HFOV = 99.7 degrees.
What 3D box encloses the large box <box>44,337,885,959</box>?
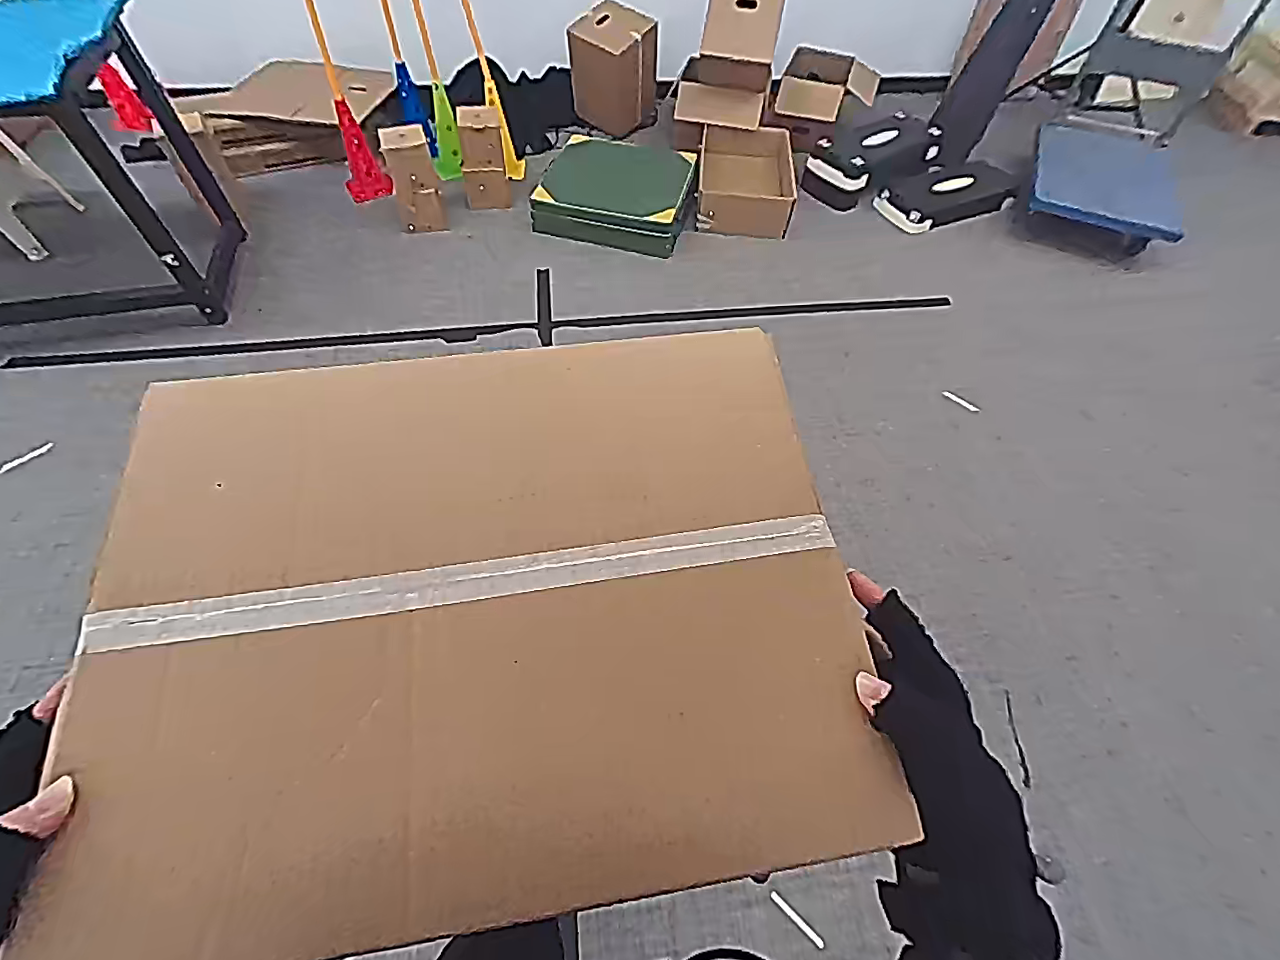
[{"bbox_3d":[-0.096,0.119,0.449,0.408,0.320,0.320,-7,66,-6],"label":"large box"}]
